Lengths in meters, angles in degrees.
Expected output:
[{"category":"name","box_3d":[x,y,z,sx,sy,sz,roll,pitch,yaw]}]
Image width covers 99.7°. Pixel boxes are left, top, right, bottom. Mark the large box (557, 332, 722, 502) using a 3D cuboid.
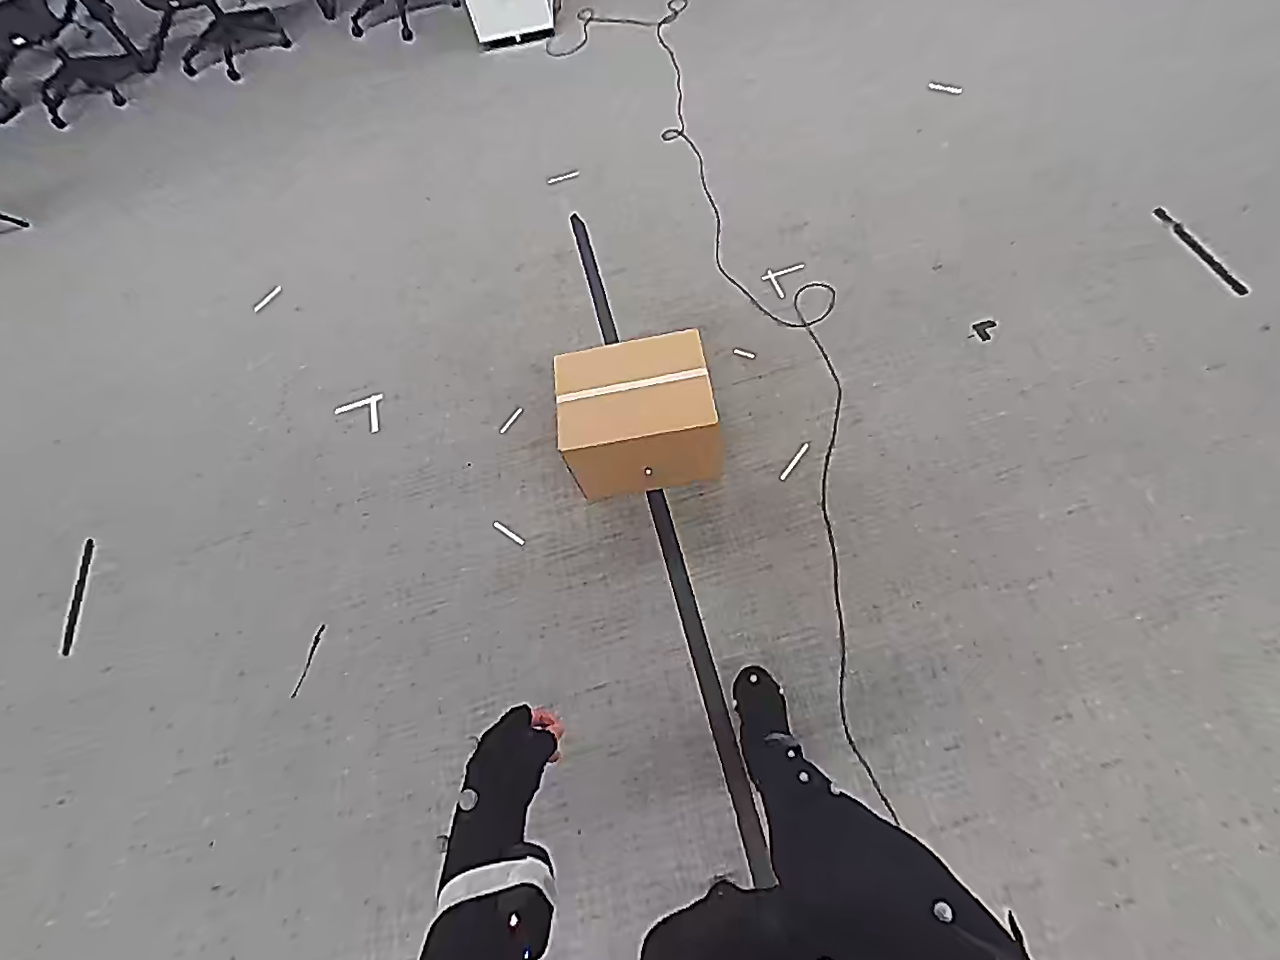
[{"category":"large box","box_3d":[0.005,-0.164,1.530,0.408,0.320,0.320,-10,63,4]}]
